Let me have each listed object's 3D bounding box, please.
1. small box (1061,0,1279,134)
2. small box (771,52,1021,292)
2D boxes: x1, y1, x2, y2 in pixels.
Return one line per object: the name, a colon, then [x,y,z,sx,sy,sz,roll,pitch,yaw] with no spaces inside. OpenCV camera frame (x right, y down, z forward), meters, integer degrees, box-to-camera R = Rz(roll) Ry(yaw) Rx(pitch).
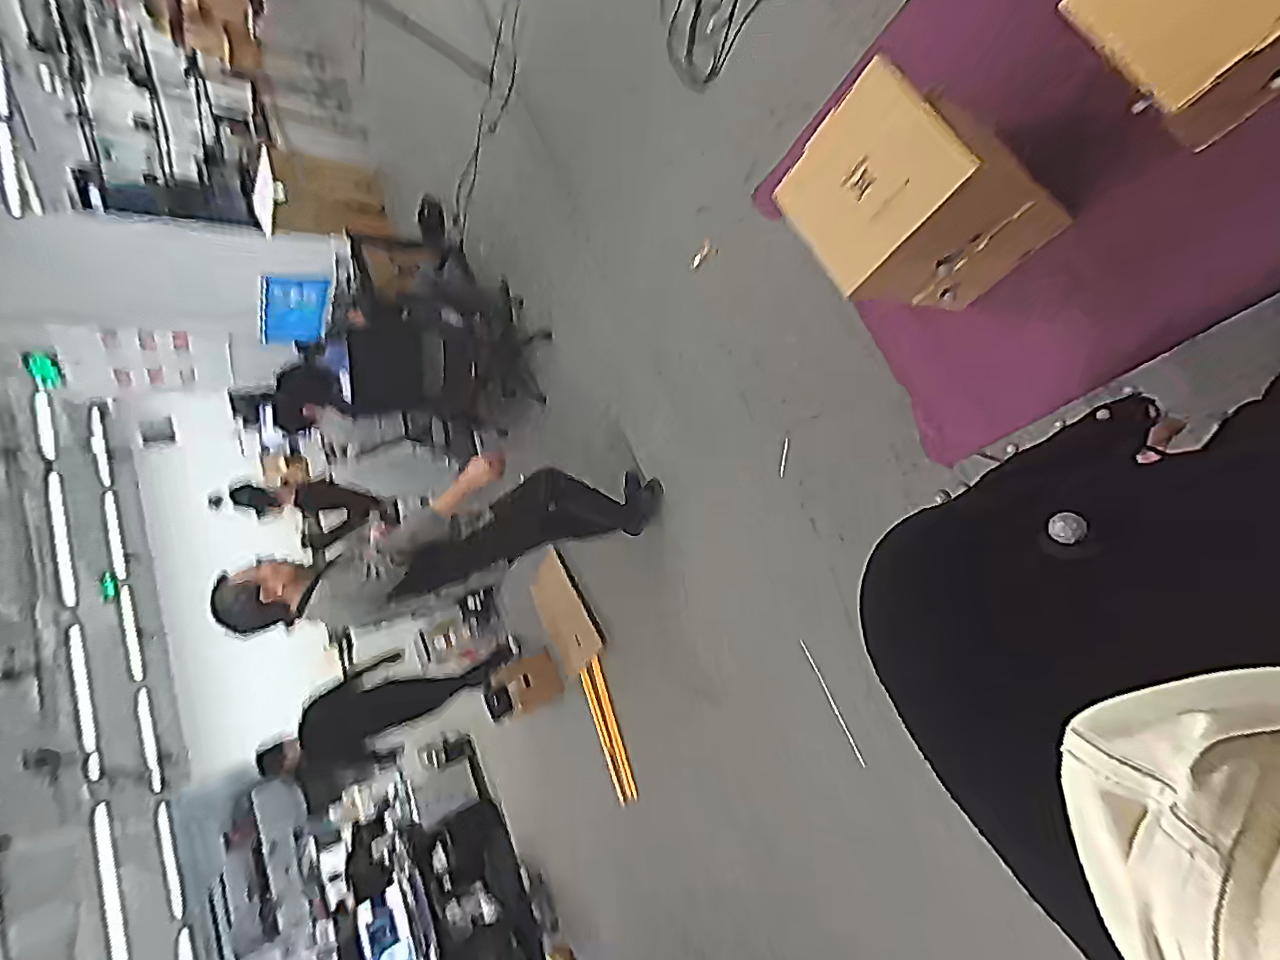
small box: [0.570,-0.484,0.535,0.168,0.176,0.179,-45,67,46]
small box: [0.297,-0.341,0.637,0.168,0.176,0.179,-46,65,46]
